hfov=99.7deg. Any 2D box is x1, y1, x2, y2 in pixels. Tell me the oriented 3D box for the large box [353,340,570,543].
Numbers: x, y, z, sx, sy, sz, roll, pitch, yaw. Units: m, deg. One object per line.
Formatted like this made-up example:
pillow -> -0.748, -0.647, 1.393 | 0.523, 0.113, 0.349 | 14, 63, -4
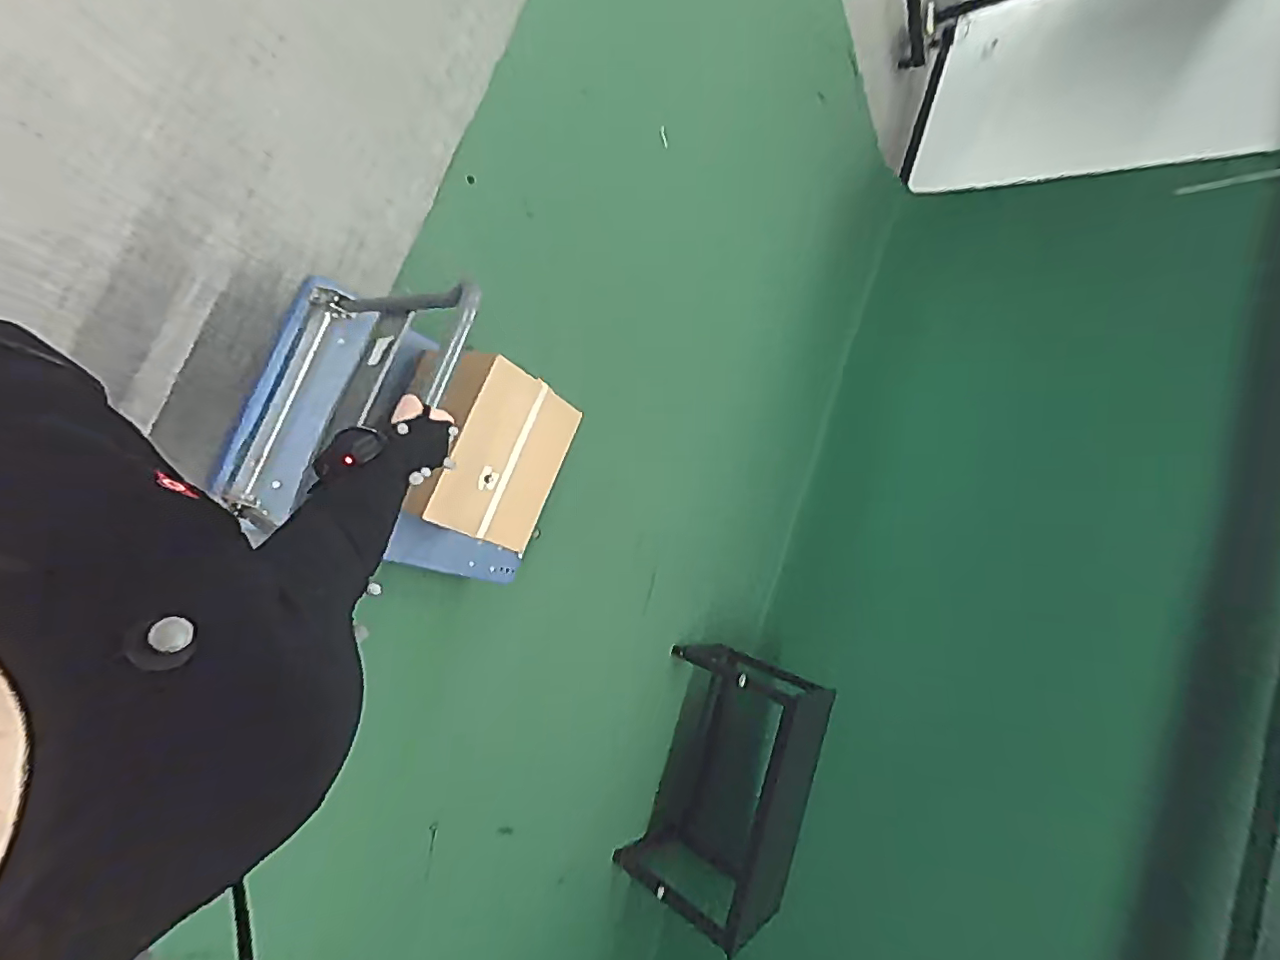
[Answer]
large box -> -0.449, -0.102, 1.391 | 0.320, 0.320, 0.408 | 33, 76, -50
